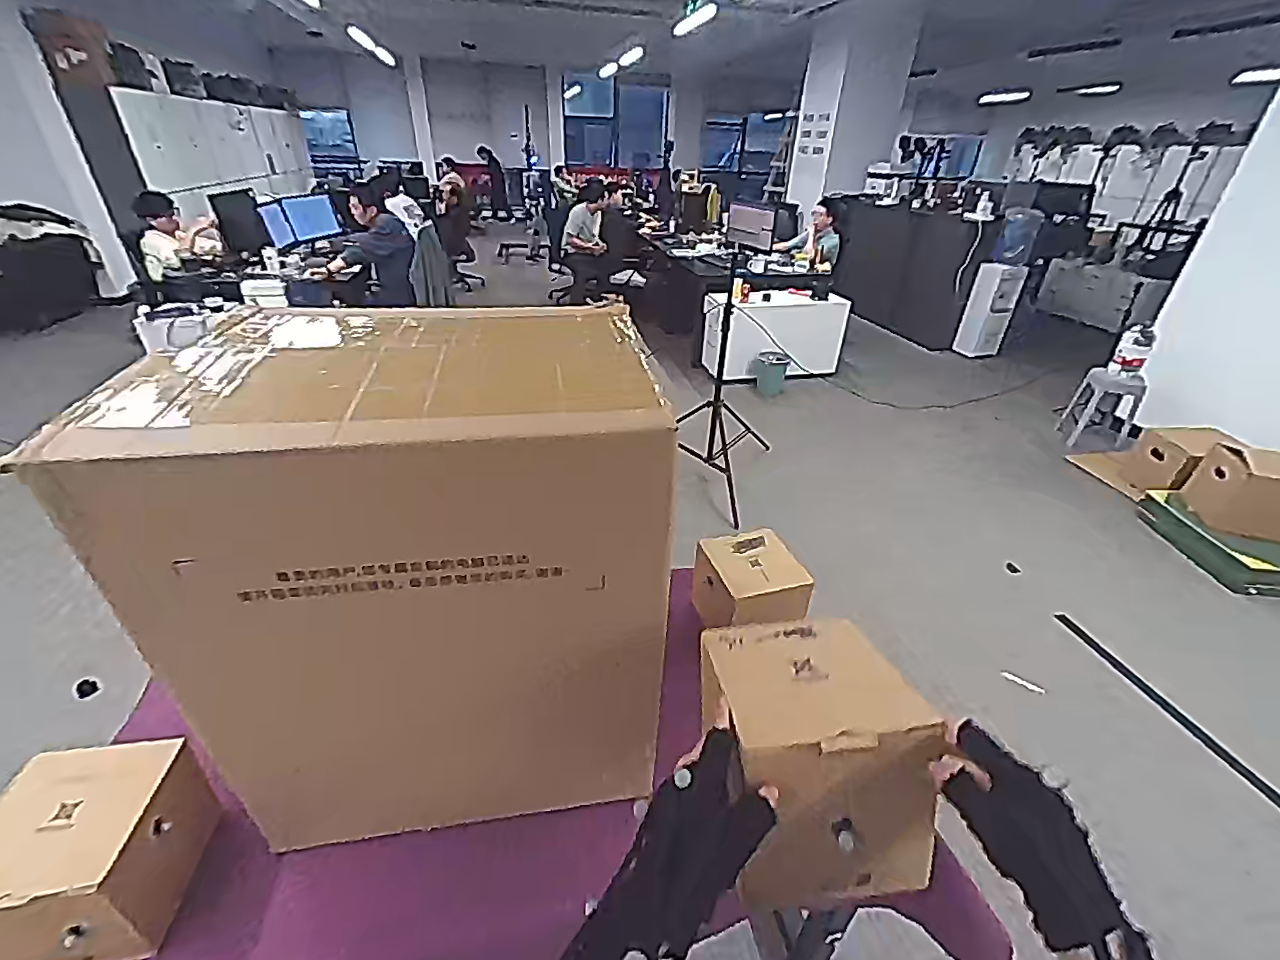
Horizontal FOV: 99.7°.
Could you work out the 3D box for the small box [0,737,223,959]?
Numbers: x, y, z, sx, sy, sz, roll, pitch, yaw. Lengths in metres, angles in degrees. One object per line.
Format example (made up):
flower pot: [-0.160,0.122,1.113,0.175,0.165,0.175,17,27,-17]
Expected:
small box: [-0.652,0.450,0.656,0.168,0.176,0.179,-1,29,-11]
